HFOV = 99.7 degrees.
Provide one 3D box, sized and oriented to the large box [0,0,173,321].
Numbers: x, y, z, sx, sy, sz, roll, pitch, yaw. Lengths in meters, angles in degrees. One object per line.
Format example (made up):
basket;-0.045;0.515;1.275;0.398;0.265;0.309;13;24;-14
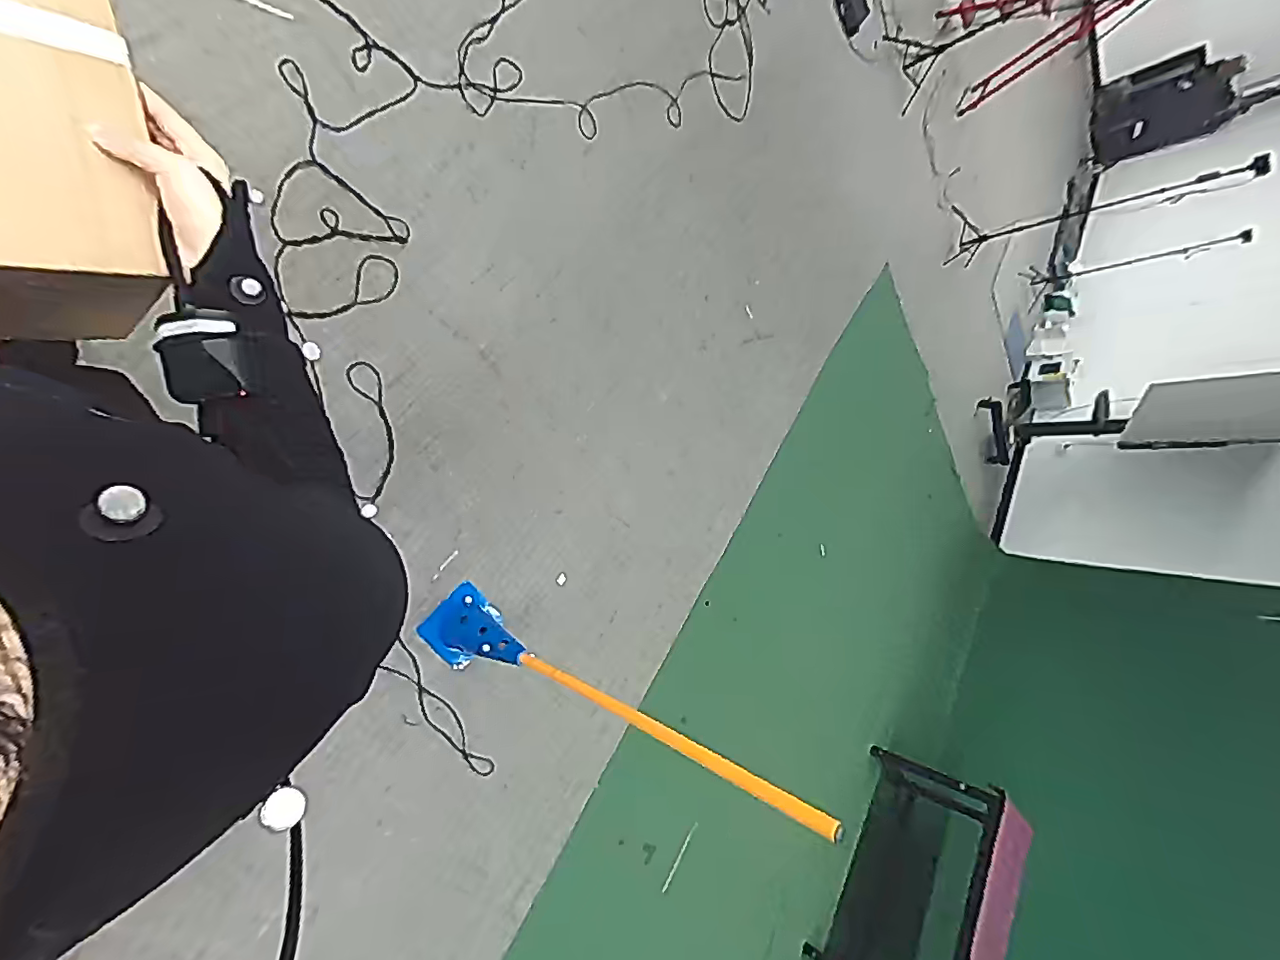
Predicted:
large box;-0.621;-0.284;0.343;0.408;0.320;0.320;-18;105;-49

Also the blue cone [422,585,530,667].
blue cone;-0.418;0.434;1.476;0.193;0.380;0.192;-48;122;-30
